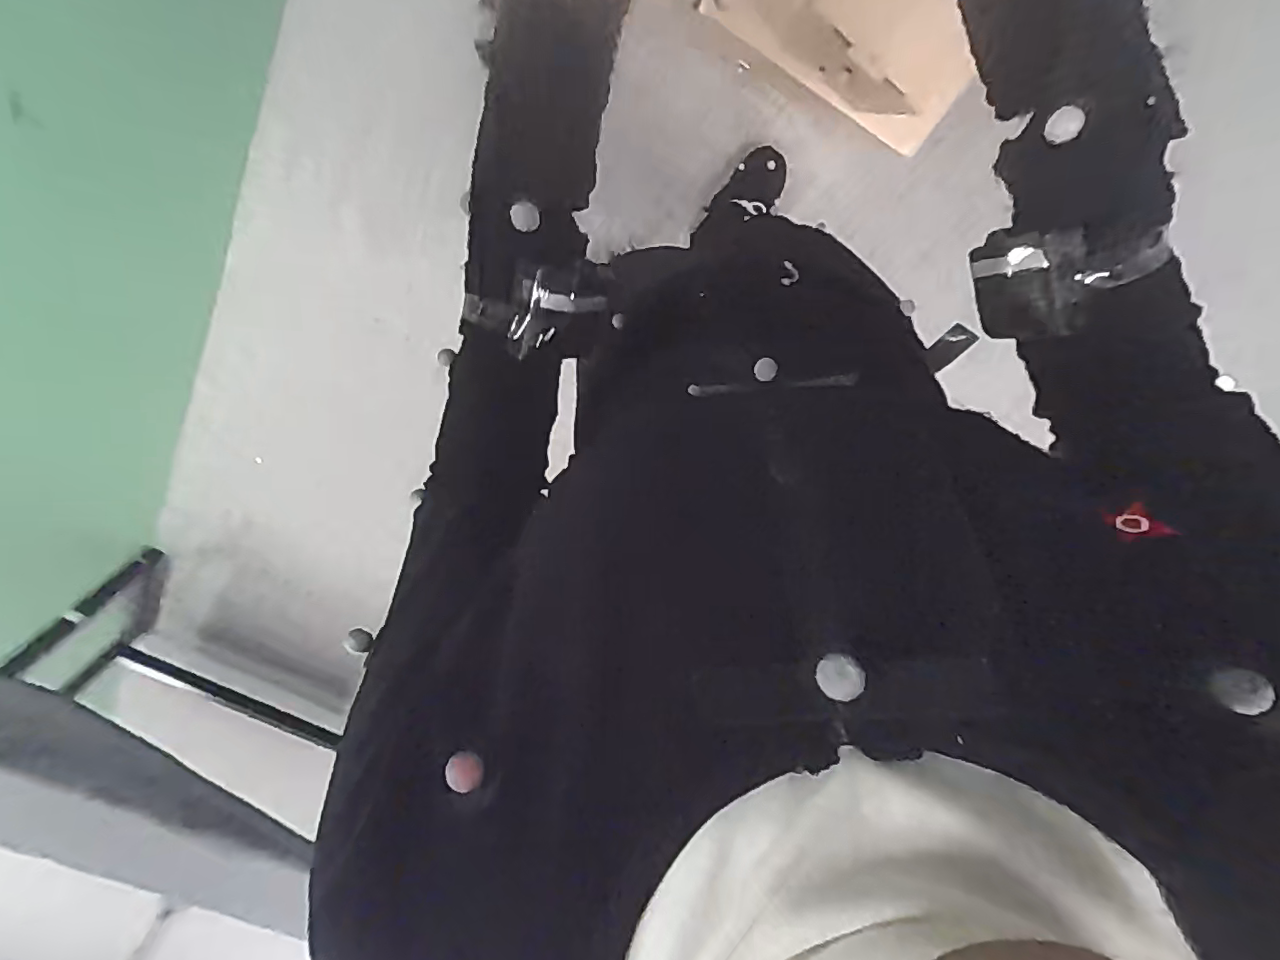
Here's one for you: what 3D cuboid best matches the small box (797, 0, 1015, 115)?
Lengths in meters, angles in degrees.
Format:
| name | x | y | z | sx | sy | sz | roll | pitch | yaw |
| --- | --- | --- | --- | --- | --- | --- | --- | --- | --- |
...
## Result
| name | x | y | z | sx | sy | sz | roll | pitch | yaw |
| --- | --- | --- | --- | --- | --- | --- | --- | --- | --- |
| small box | 0.288 | -0.530 | 0.579 | 0.168 | 0.176 | 0.179 | 32 | 122 | -14 |

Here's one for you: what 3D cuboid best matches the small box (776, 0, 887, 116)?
| name | x | y | z | sx | sy | sz | roll | pitch | yaw |
| --- | --- | --- | --- | --- | --- | --- | --- | --- | --- |
| small box | 0.303 | -0.620 | 0.714 | 0.179 | 0.176 | 0.168 | 33 | 121 | -14 |
